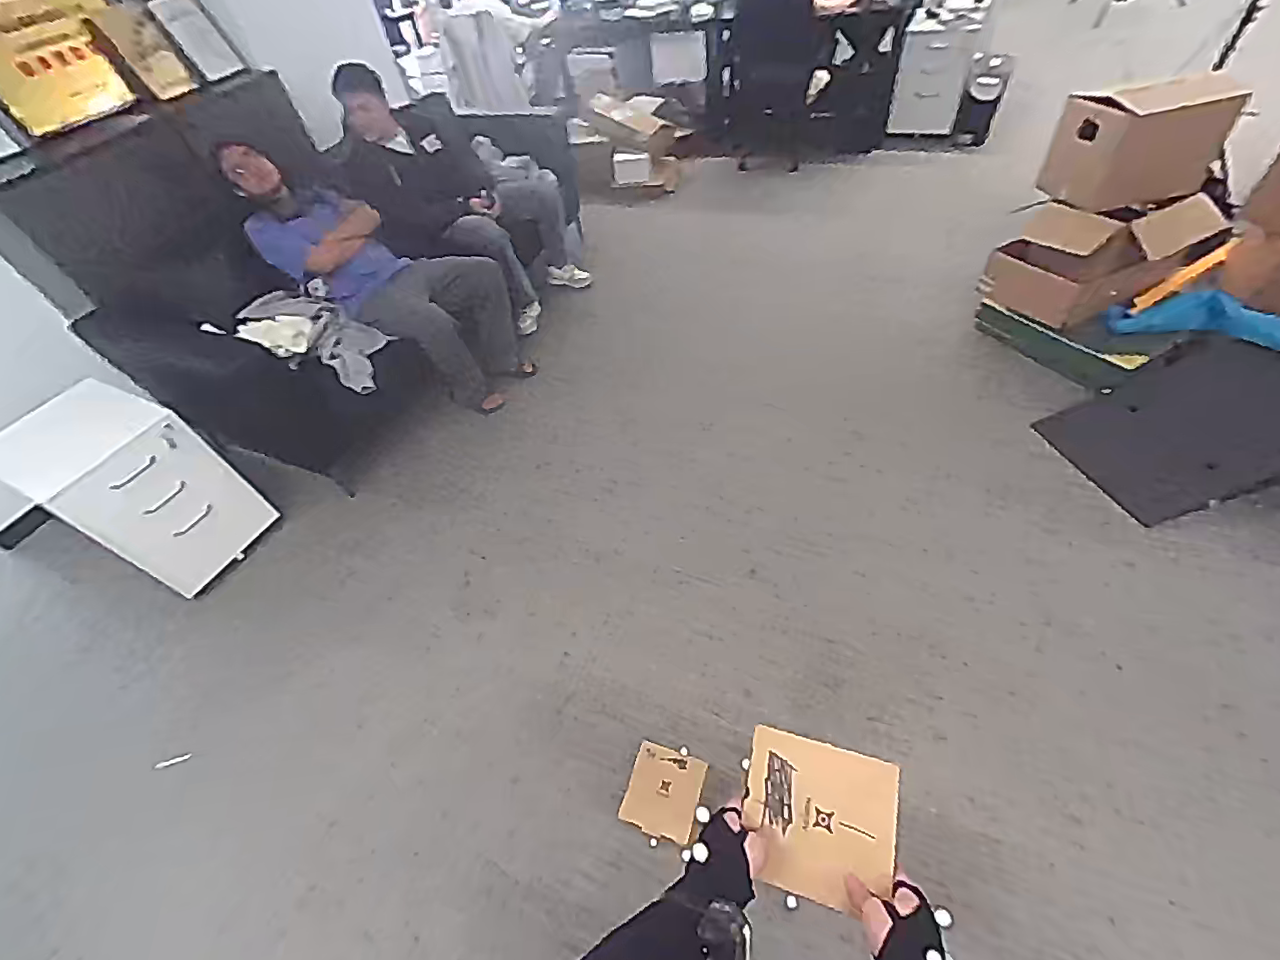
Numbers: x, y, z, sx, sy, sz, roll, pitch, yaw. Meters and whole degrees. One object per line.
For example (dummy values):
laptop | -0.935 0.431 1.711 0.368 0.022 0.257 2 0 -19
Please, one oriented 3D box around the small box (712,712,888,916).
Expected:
small box | 0.209 0.436 0.713 0.179 0.176 0.168 13 59 22

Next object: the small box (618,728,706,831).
small box | 0.055 0.731 1.314 0.179 0.176 0.168 -13 47 1
